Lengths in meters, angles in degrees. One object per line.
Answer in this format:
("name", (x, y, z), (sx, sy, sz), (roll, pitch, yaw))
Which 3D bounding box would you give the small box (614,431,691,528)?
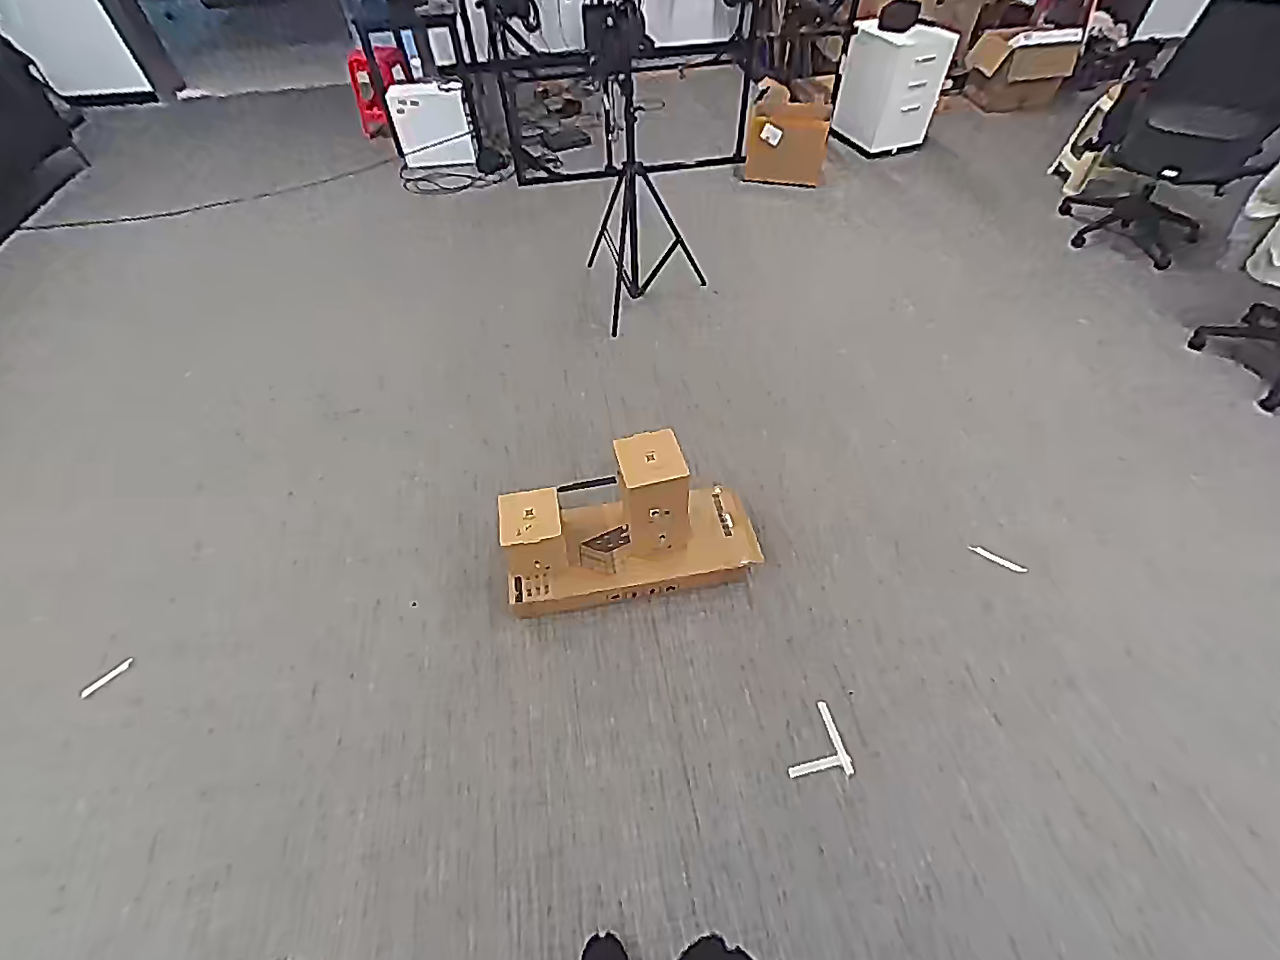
("small box", (0.030, 0.000, 1.453), (0.168, 0.176, 0.179), (-14, 52, -8))

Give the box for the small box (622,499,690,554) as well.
("small box", (0.044, 0.102, 1.581), (0.168, 0.176, 0.179), (-11, 52, -7))
